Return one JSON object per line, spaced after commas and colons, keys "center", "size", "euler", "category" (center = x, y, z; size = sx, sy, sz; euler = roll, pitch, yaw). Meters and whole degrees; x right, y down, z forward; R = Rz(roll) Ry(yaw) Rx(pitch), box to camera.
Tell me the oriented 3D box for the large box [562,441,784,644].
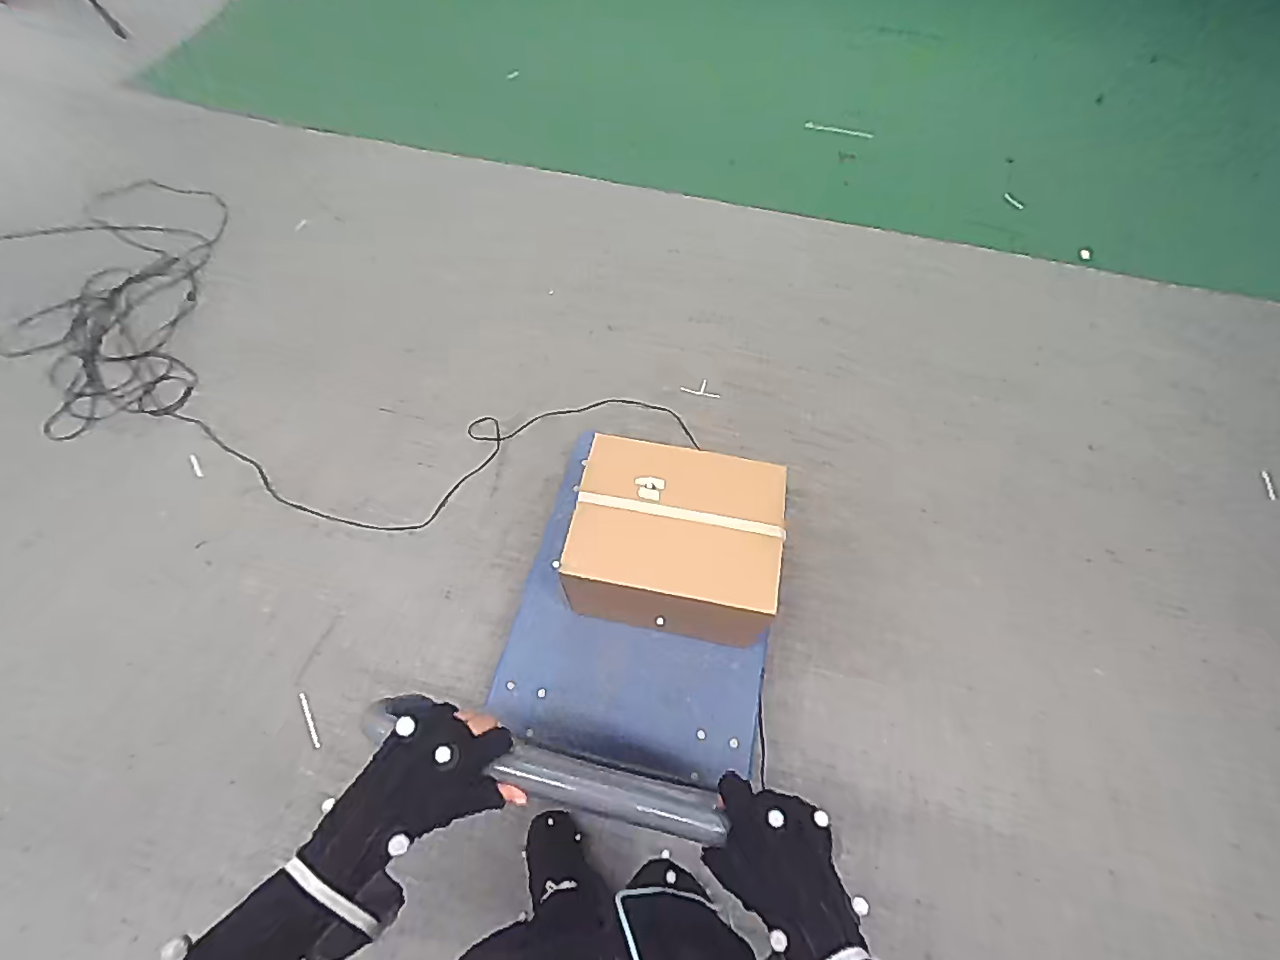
{"center": [0.076, 0.149, 1.186], "size": [0.408, 0.320, 0.320], "euler": [10, 61, 5], "category": "large box"}
